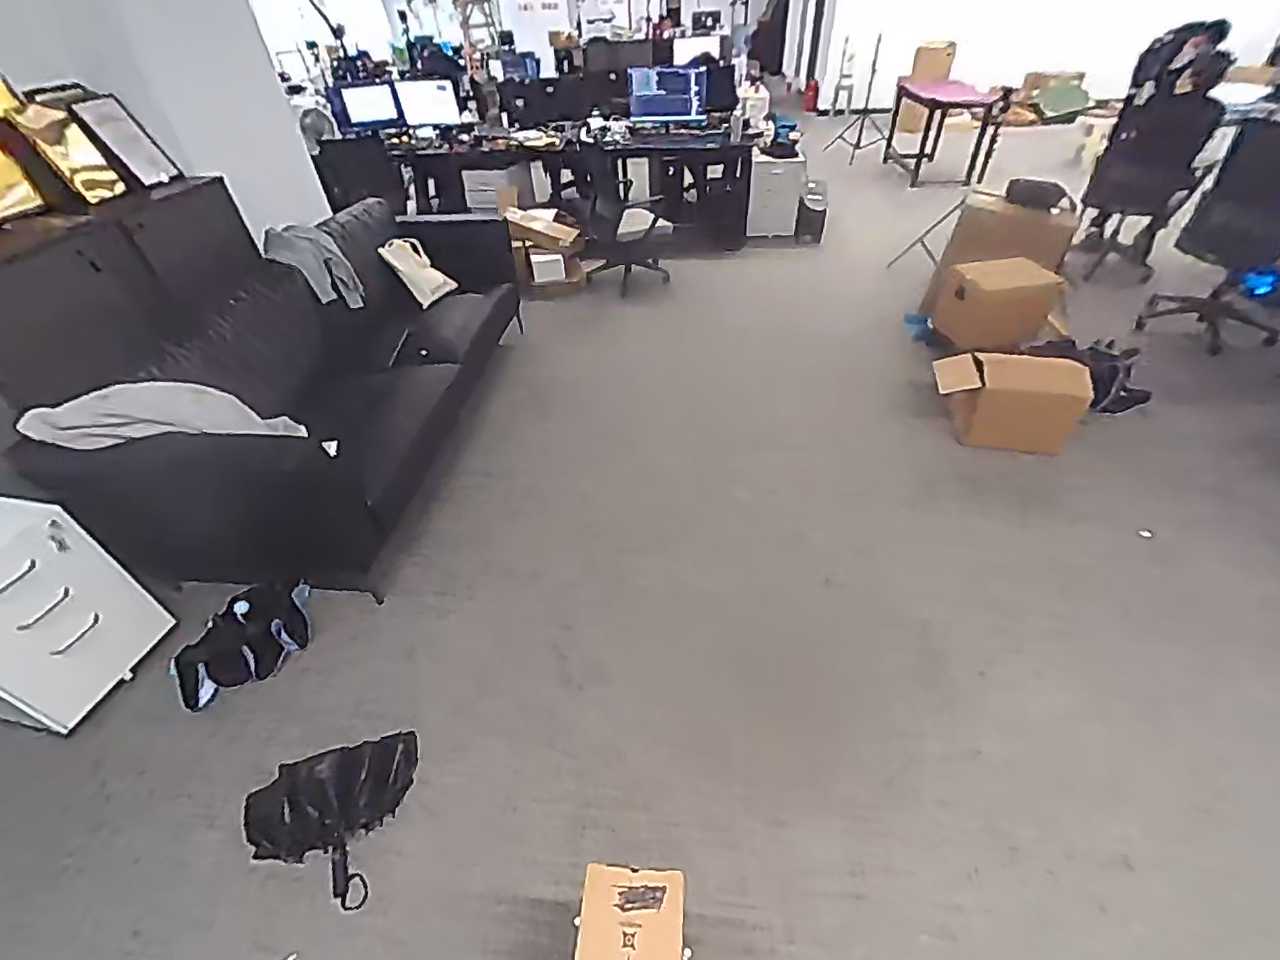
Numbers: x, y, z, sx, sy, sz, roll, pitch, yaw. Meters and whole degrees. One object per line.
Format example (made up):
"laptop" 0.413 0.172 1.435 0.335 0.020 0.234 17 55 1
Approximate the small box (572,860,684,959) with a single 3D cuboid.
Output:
"small box" -0.016 0.756 0.886 0.168 0.176 0.179 2 43 5
